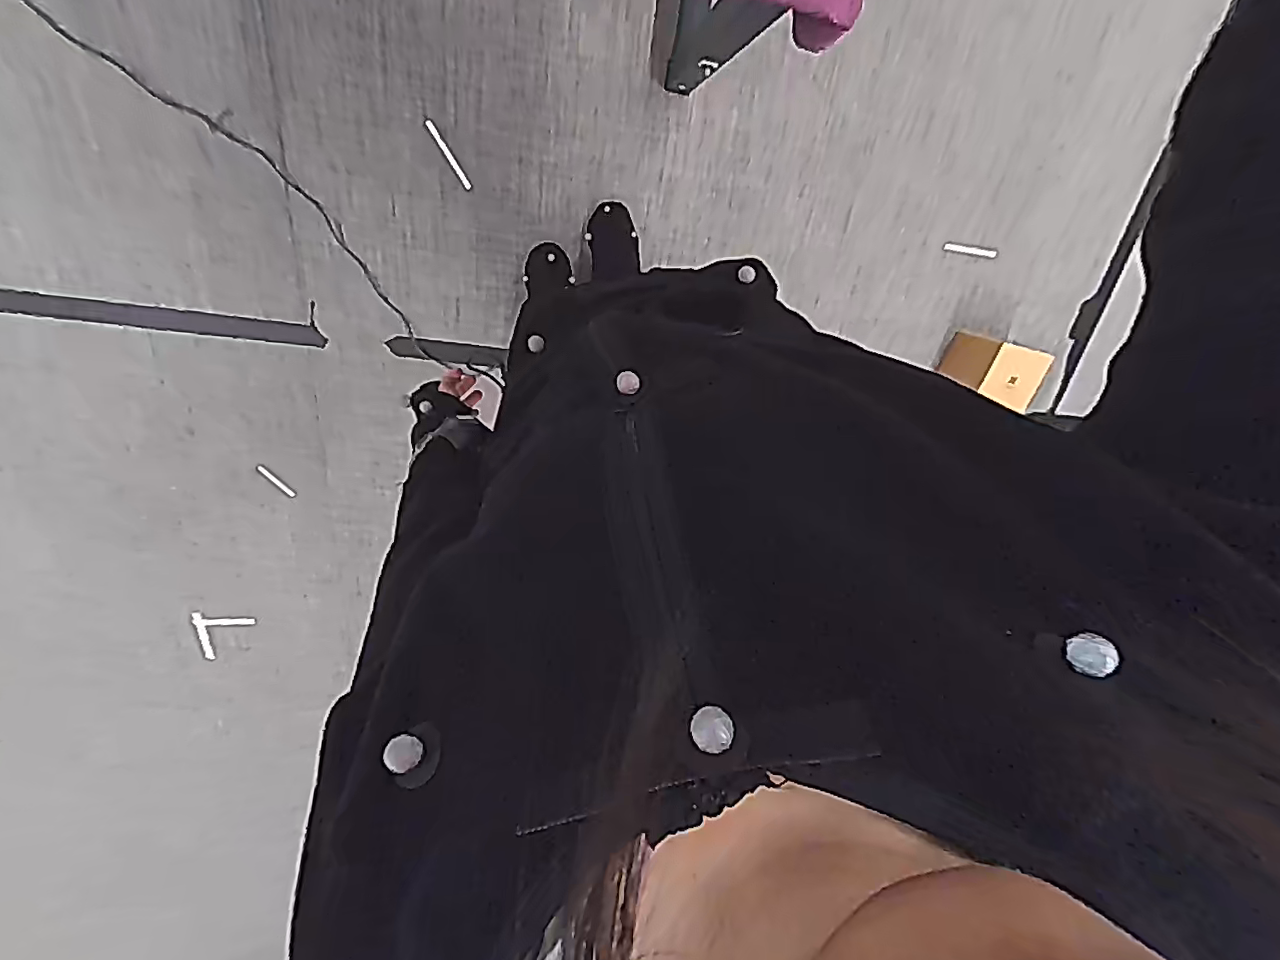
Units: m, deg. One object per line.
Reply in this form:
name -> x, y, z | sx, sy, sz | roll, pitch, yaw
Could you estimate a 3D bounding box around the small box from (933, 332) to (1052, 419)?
small box -> 0.933, -0.285, 1.451 | 0.168, 0.176, 0.179 | 9, 116, -14
